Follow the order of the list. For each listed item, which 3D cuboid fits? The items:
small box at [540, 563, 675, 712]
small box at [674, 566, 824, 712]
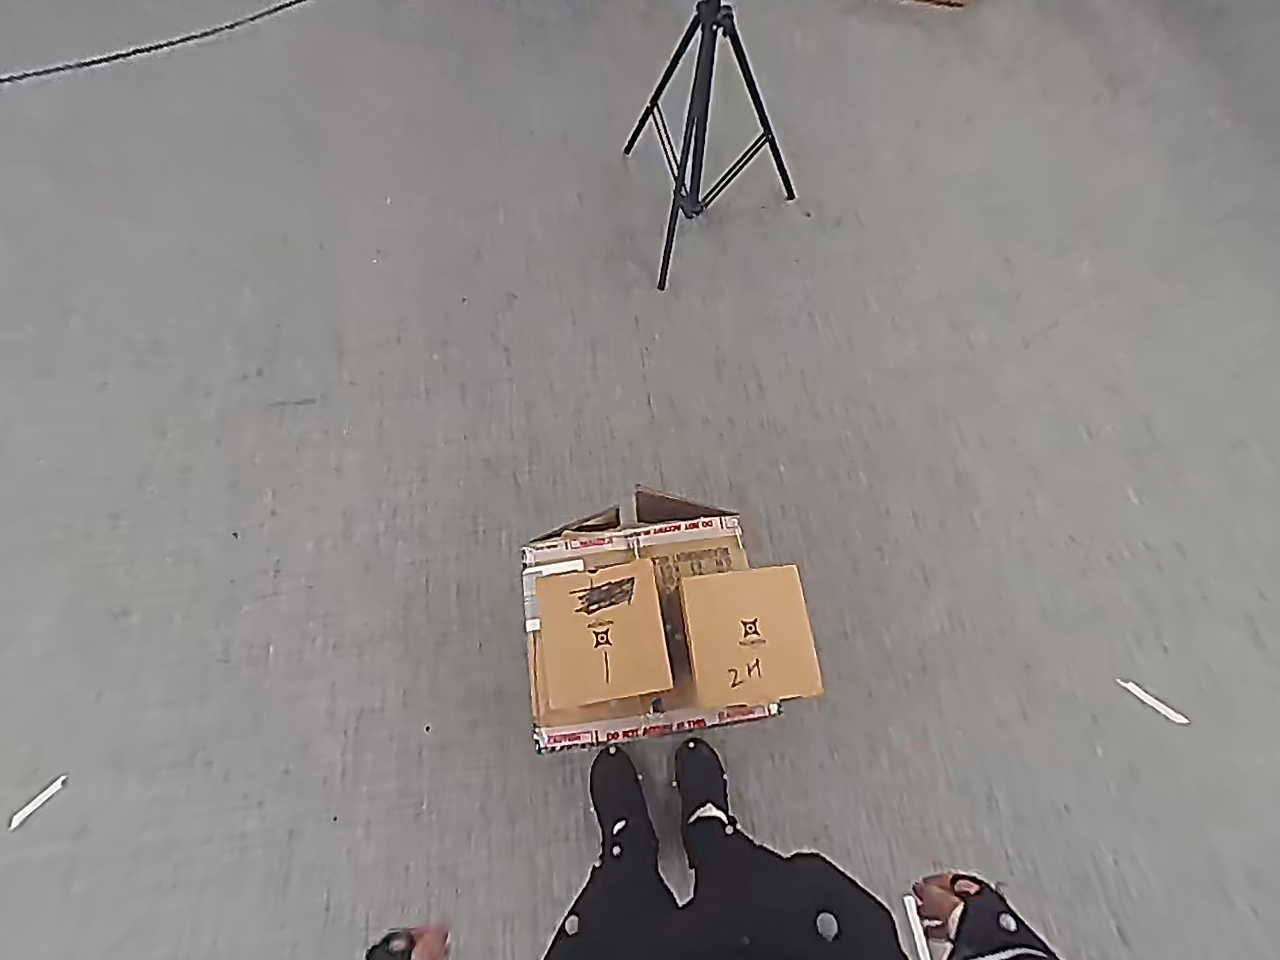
[{"bbox_3d":[-0.047,0.233,0.803,0.168,0.176,0.179,-9,73,-2],"label":"small box"},{"bbox_3d":[0.148,0.236,0.802,0.168,0.176,0.179,-7,72,-3],"label":"small box"}]
